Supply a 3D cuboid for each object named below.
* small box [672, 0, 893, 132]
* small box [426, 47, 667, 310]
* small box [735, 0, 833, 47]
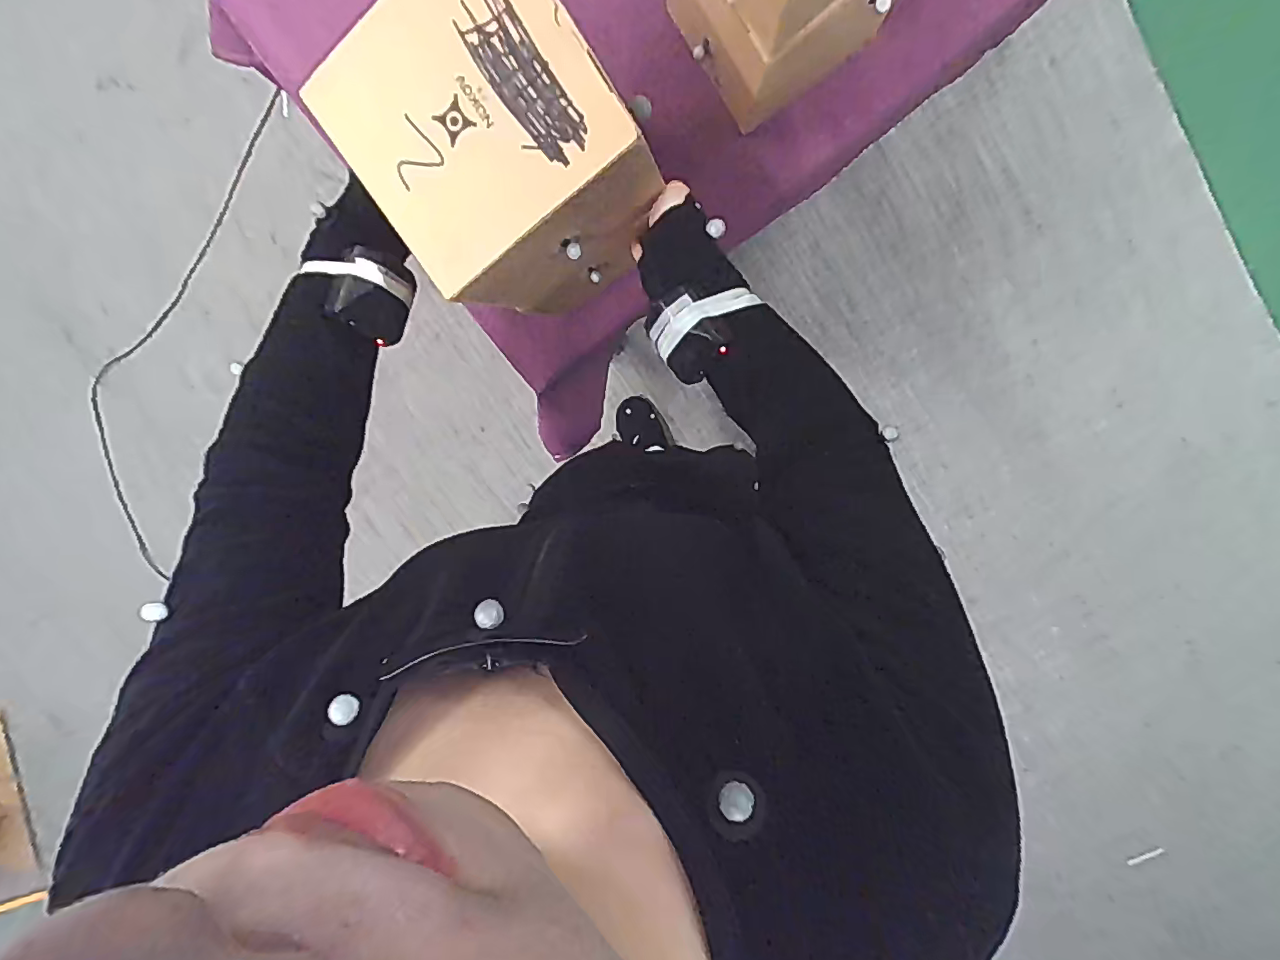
[{"bbox_3d":[0.141,-0.499,0.536,0.179,0.176,0.168,-33,98,10],"label":"small box"},{"bbox_3d":[-0.086,-0.300,0.592,0.179,0.176,0.168,-29,100,15],"label":"small box"},{"bbox_3d":[0.126,-0.467,0.375,0.179,0.176,0.168,-37,98,10],"label":"small box"}]
